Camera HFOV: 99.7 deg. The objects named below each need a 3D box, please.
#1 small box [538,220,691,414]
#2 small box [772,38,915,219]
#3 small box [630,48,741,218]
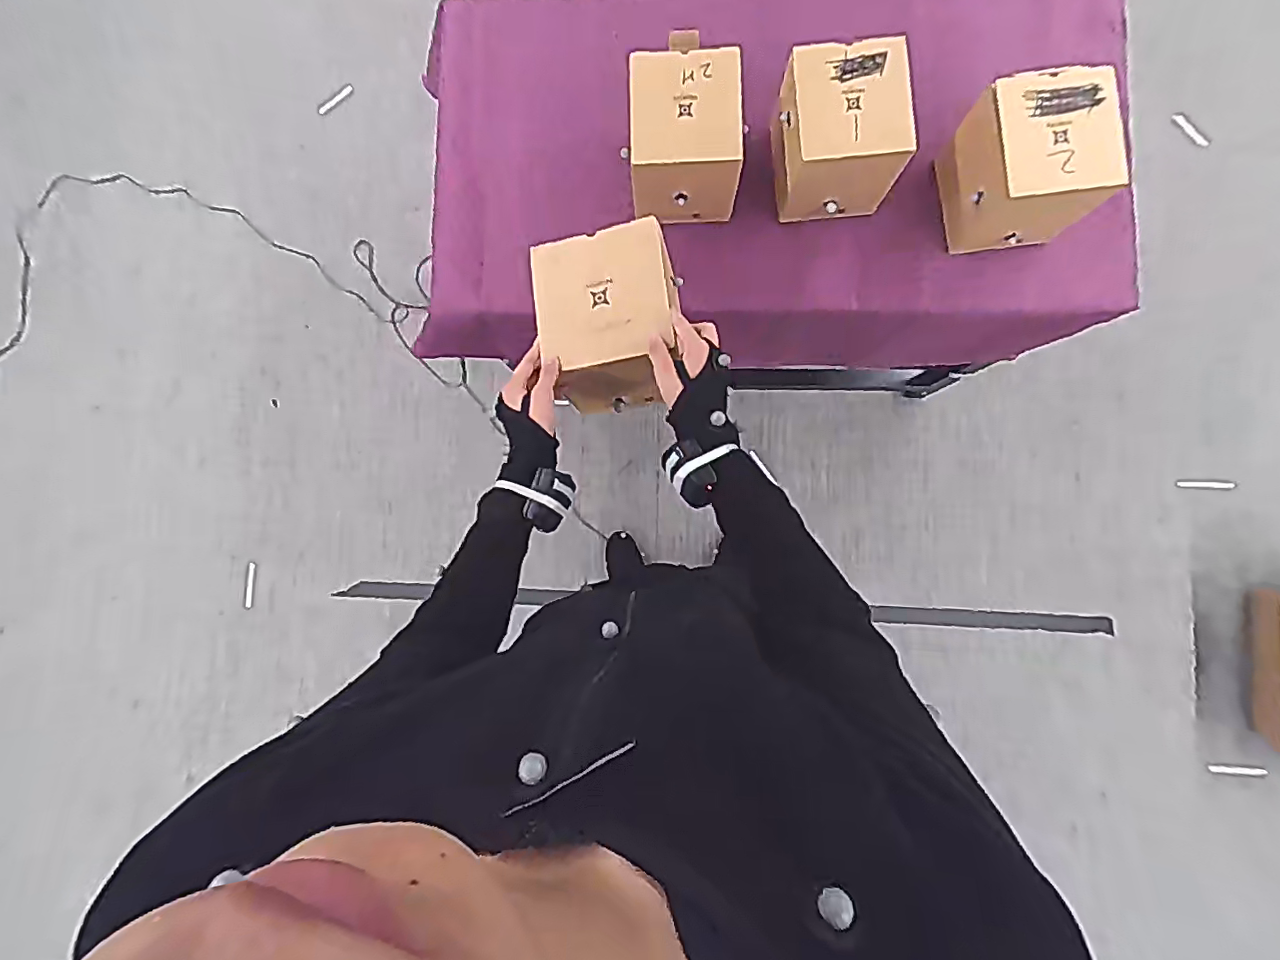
[{"bbox_3d":[-0.028,-0.209,0.732,0.168,0.176,0.179,-9,76,11],"label":"small box"},{"bbox_3d":[0.314,-0.553,0.869,0.168,0.176,0.179,-4,86,2],"label":"small box"},{"bbox_3d":[0.072,-0.548,0.880,0.168,0.176,0.179,-1,85,3],"label":"small box"}]
